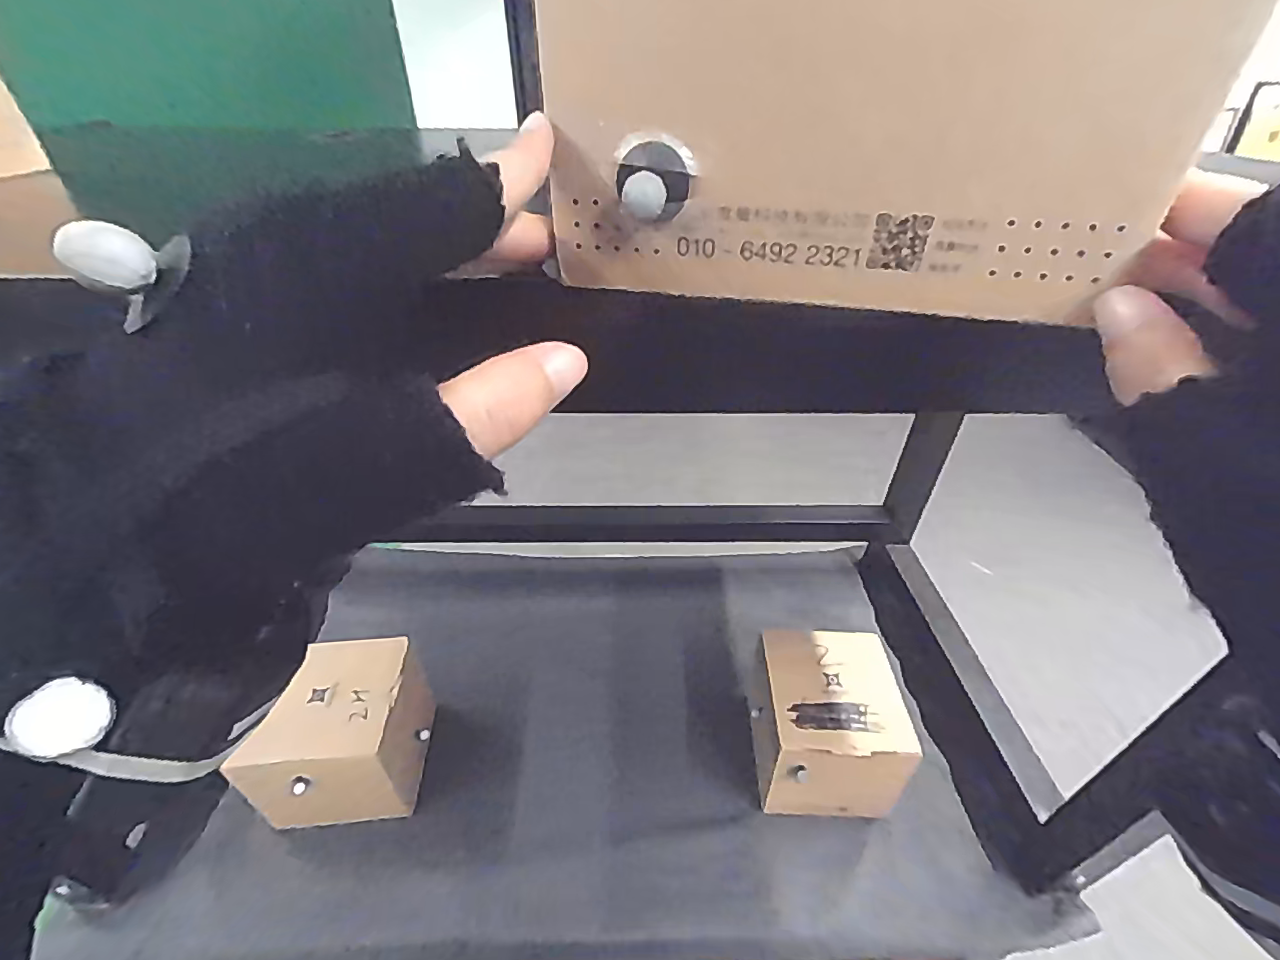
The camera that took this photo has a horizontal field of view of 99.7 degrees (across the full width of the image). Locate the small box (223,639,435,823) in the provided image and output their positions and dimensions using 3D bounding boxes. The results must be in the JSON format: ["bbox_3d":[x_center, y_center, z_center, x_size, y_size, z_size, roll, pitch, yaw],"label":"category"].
[{"bbox_3d":[-0.398,0.339,0.731,0.179,0.176,0.168,-2,37,-5],"label":"small box"}]

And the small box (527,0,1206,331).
[{"bbox_3d":[0.066,-0.164,0.191,0.168,0.176,0.179,9,37,10],"label":"small box"}]
